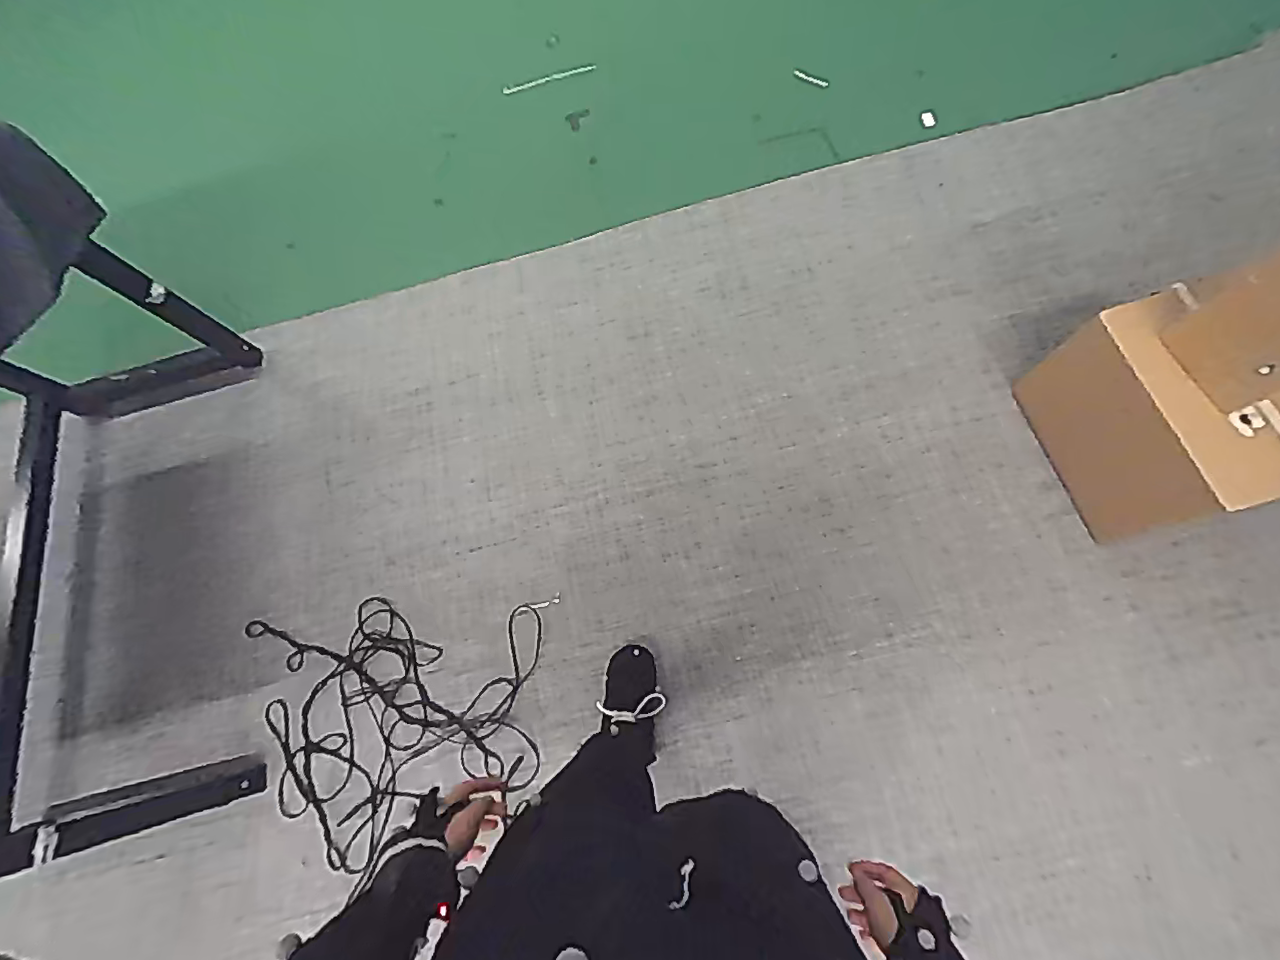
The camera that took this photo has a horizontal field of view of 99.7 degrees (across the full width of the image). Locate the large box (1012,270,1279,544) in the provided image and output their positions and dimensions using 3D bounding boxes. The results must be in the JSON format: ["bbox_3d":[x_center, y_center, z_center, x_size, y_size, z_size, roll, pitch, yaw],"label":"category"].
[{"bbox_3d":[1.062,-0.124,1.083,0.320,0.320,0.408,-18,73,2],"label":"large box"}]
